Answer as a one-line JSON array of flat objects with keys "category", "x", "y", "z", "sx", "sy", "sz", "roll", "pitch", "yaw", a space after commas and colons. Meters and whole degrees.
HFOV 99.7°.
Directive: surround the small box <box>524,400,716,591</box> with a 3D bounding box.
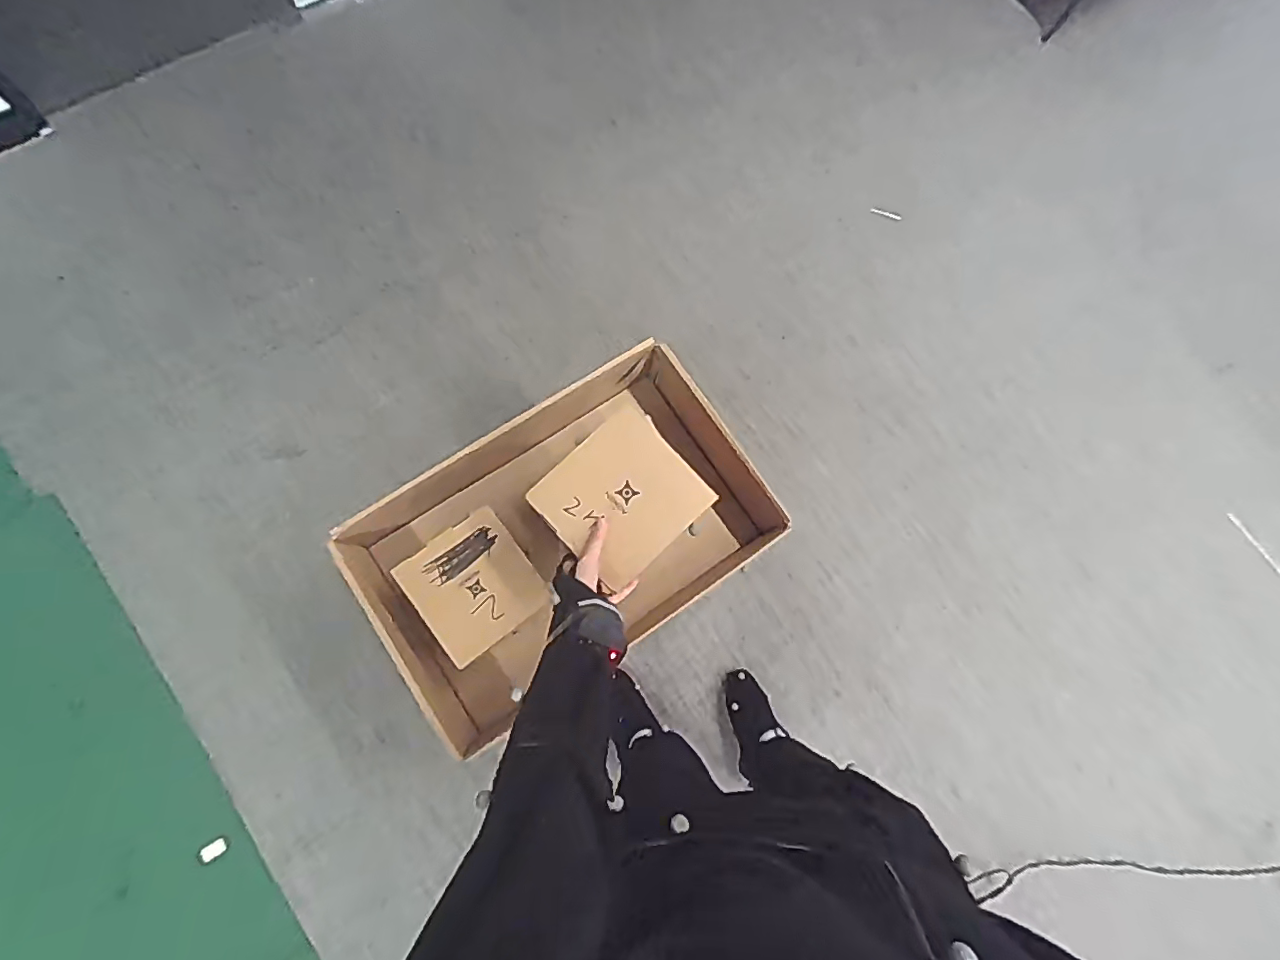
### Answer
[{"category": "small box", "x": -0.027, "y": 0.025, "z": 0.726, "sx": 0.179, "sy": 0.176, "sz": 0.168, "roll": -42, "pitch": 86, "yaw": -6}]
